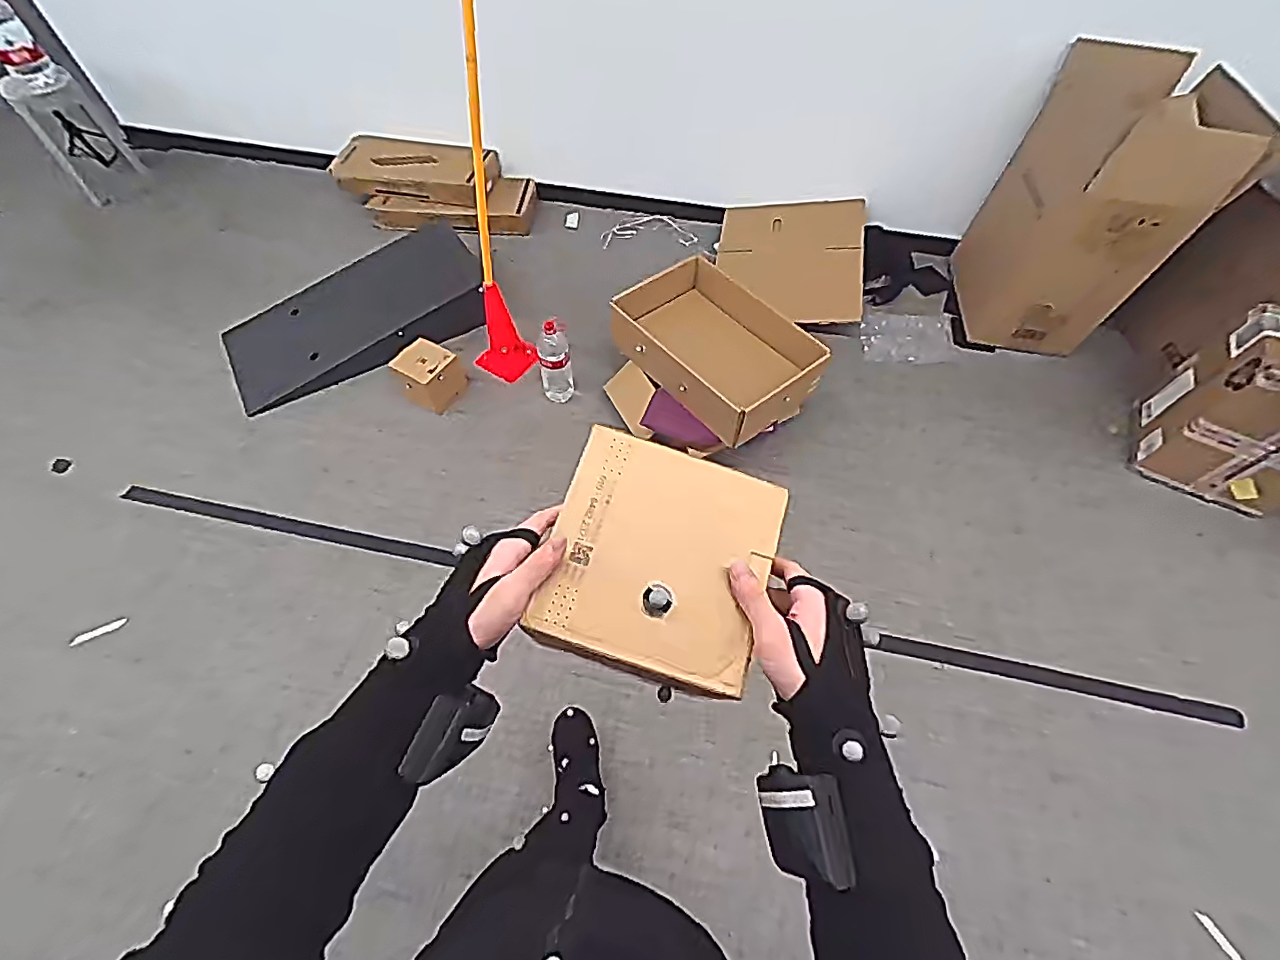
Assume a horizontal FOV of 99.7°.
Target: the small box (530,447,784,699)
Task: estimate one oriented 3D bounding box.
[{"bbox_3d":[0.007,0.088,0.492,0.176,0.179,0.168,21,67,0],"label":"small box"}]
